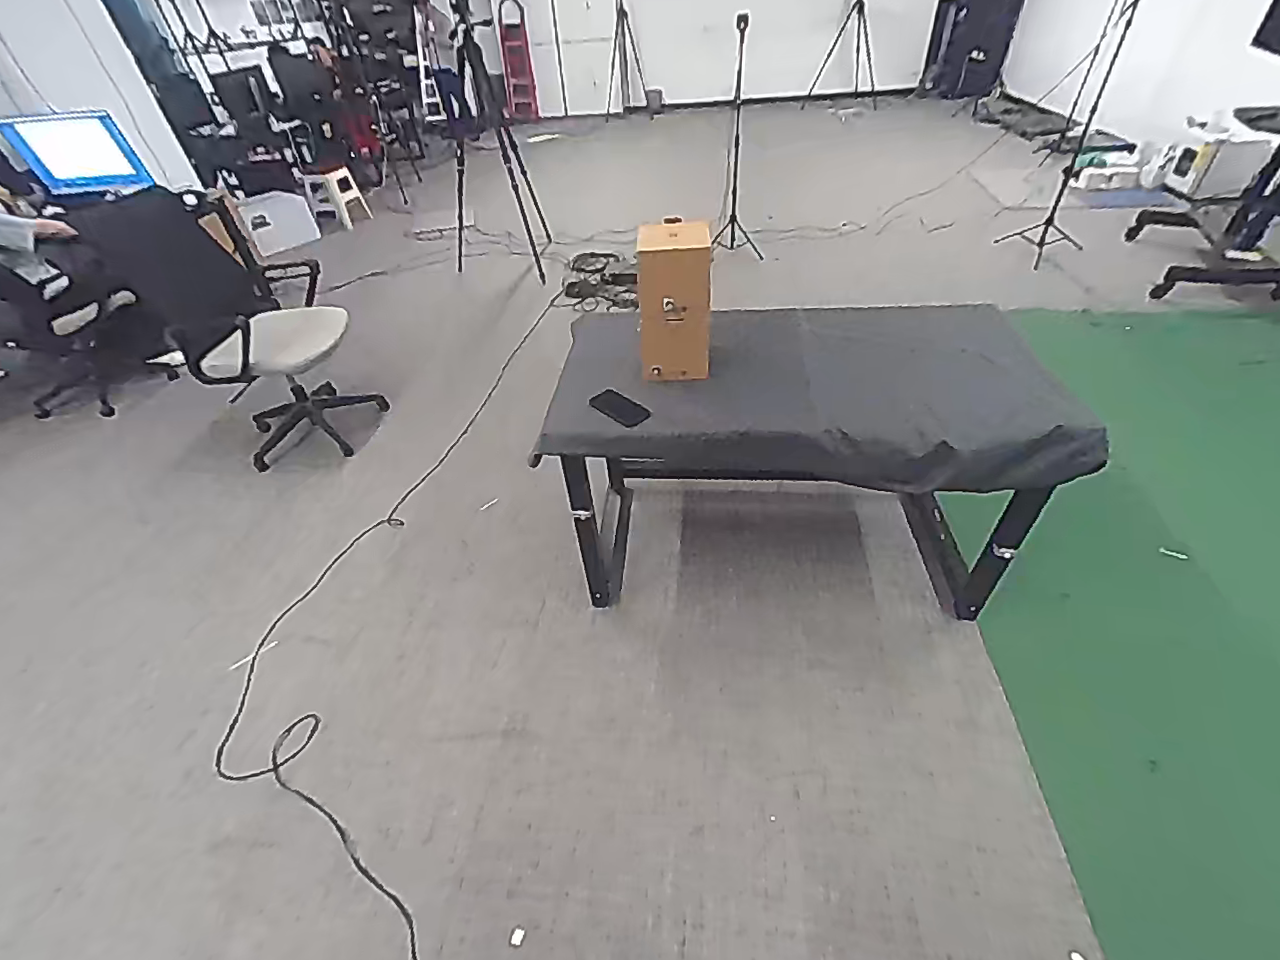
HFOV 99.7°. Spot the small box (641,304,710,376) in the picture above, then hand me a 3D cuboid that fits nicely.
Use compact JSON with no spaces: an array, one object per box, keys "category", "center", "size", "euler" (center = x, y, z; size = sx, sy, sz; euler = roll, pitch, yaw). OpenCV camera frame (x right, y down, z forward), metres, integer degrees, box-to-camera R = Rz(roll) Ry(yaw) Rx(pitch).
[{"category":"small box","center":[0.094,-0.378,1.393],"size":[0.168,0.176,0.179],"euler":[-1,42,4]}]

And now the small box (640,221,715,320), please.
[{"category":"small box","center":[0.087,-0.497,1.284],"size":[0.168,0.176,0.179],"euler":[-2,44,4]}]
